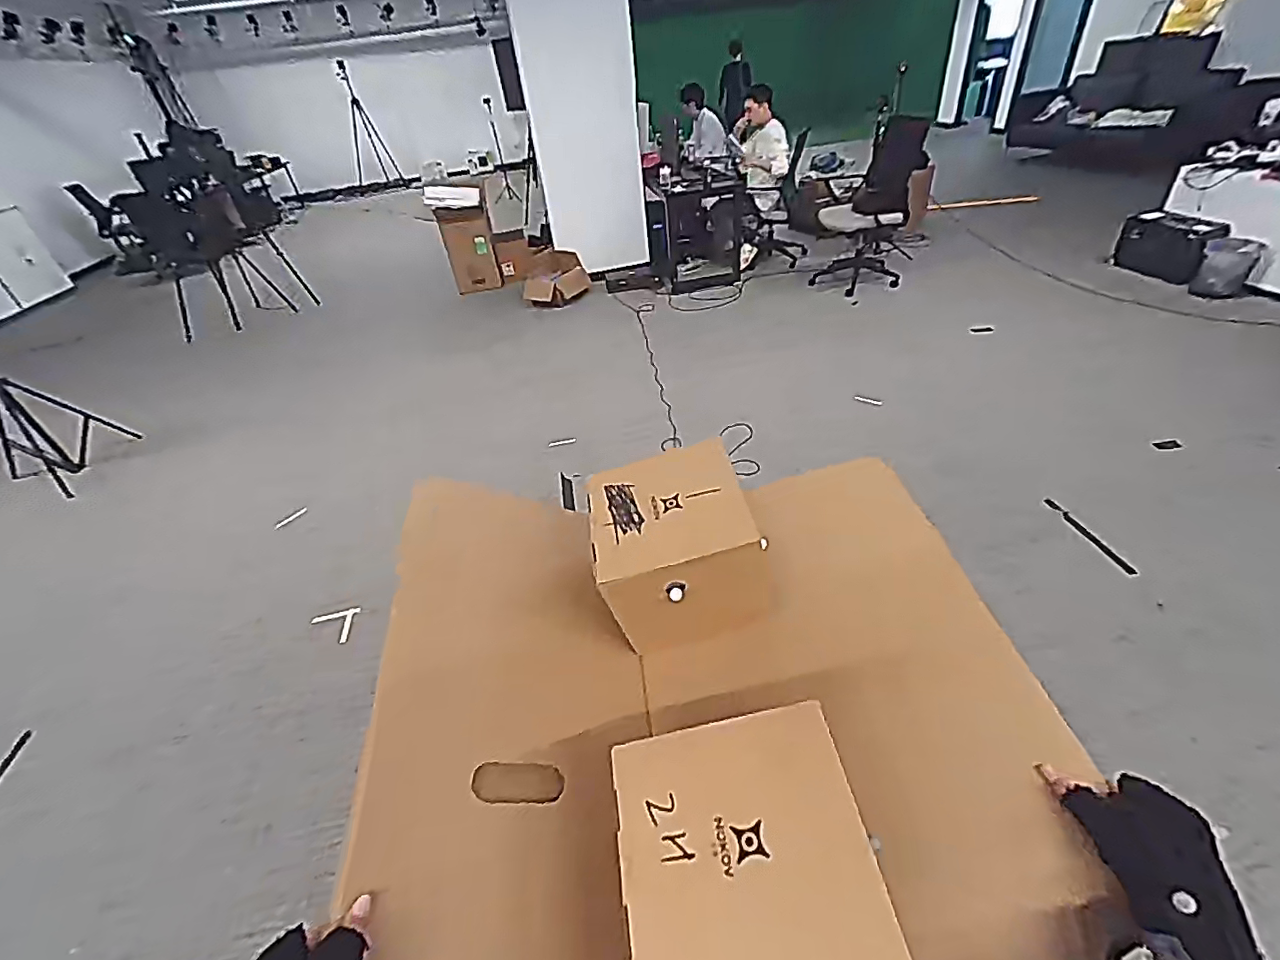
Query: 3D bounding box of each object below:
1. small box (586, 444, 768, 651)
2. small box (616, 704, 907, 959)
[{"bbox_3d":[0.047,0.089,0.671,0.179,0.176,0.168,-17,45,4],"label":"small box"},{"bbox_3d":[0.092,0.312,0.447,0.179,0.176,0.168,-16,45,7],"label":"small box"}]
